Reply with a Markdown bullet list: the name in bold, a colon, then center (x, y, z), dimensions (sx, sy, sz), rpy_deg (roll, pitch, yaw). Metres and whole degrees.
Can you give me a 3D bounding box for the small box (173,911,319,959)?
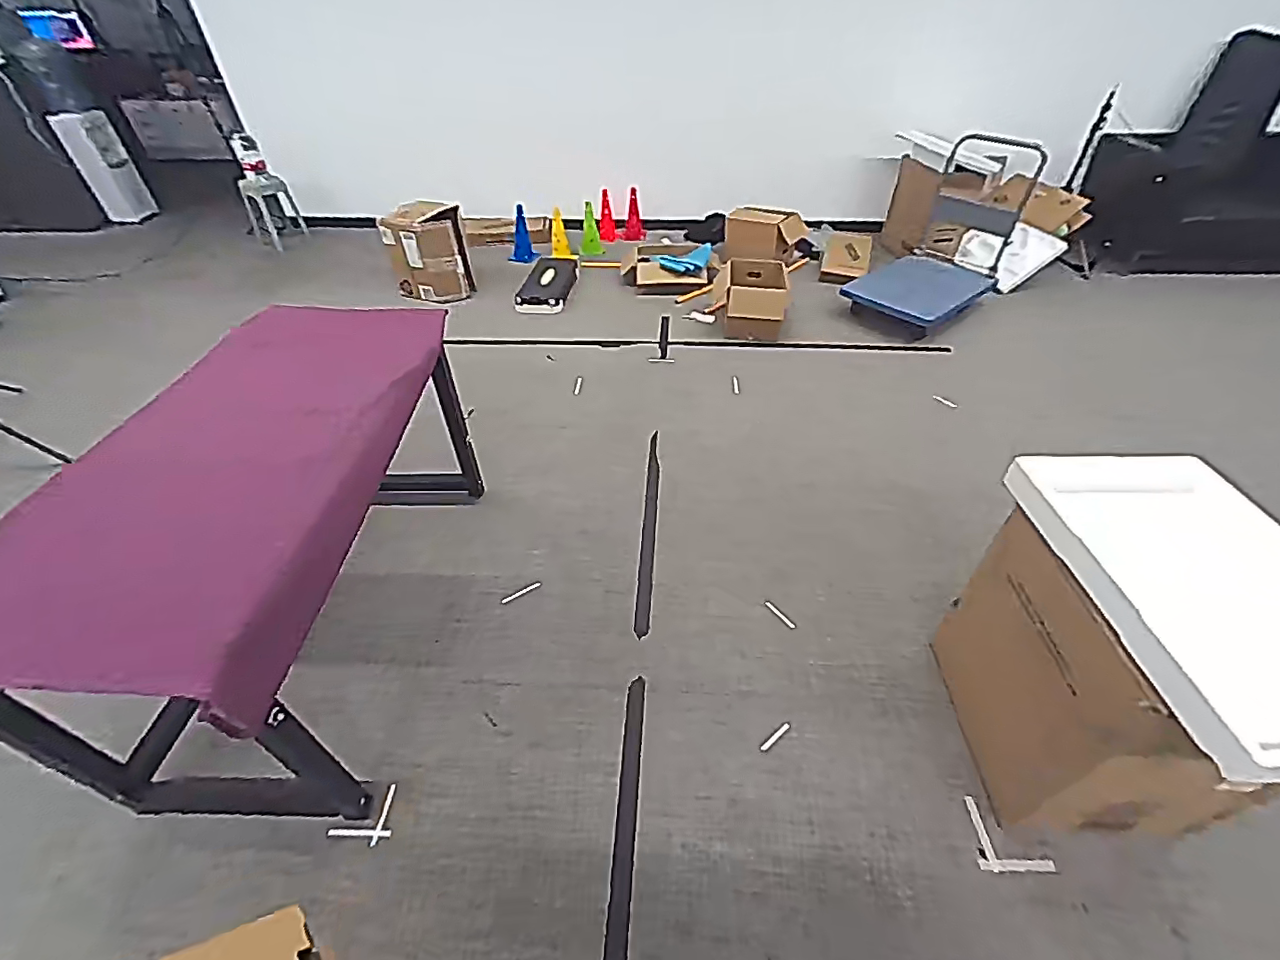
- **small box**: center (-0.435, 0.606, 0.542), dimensions (0.168, 0.176, 0.179), rpy_deg (24, 5, 39)
